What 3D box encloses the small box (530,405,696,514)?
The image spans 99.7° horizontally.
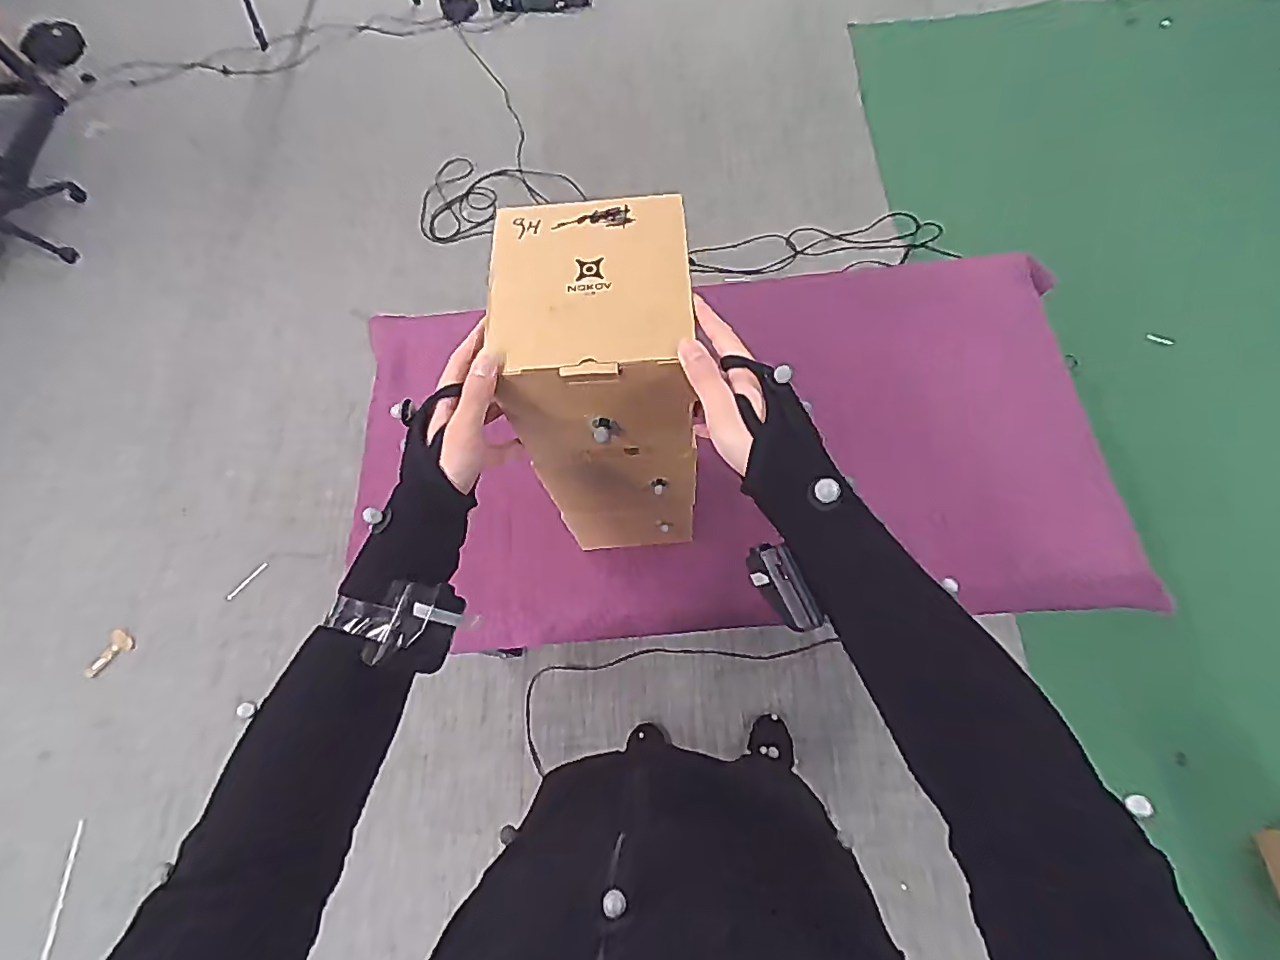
[{"bbox_3d":[-0.027,-0.065,0.664,0.179,0.176,0.168,-5,67,3],"label":"small box"}]

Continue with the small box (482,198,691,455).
[{"bbox_3d":[-0.037,-0.130,0.515,0.168,0.176,0.179,-3,67,3],"label":"small box"}]

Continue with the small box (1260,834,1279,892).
[{"bbox_3d":[1.475,0.850,1.113,0.168,0.176,0.179,-4,67,3],"label":"small box"}]
